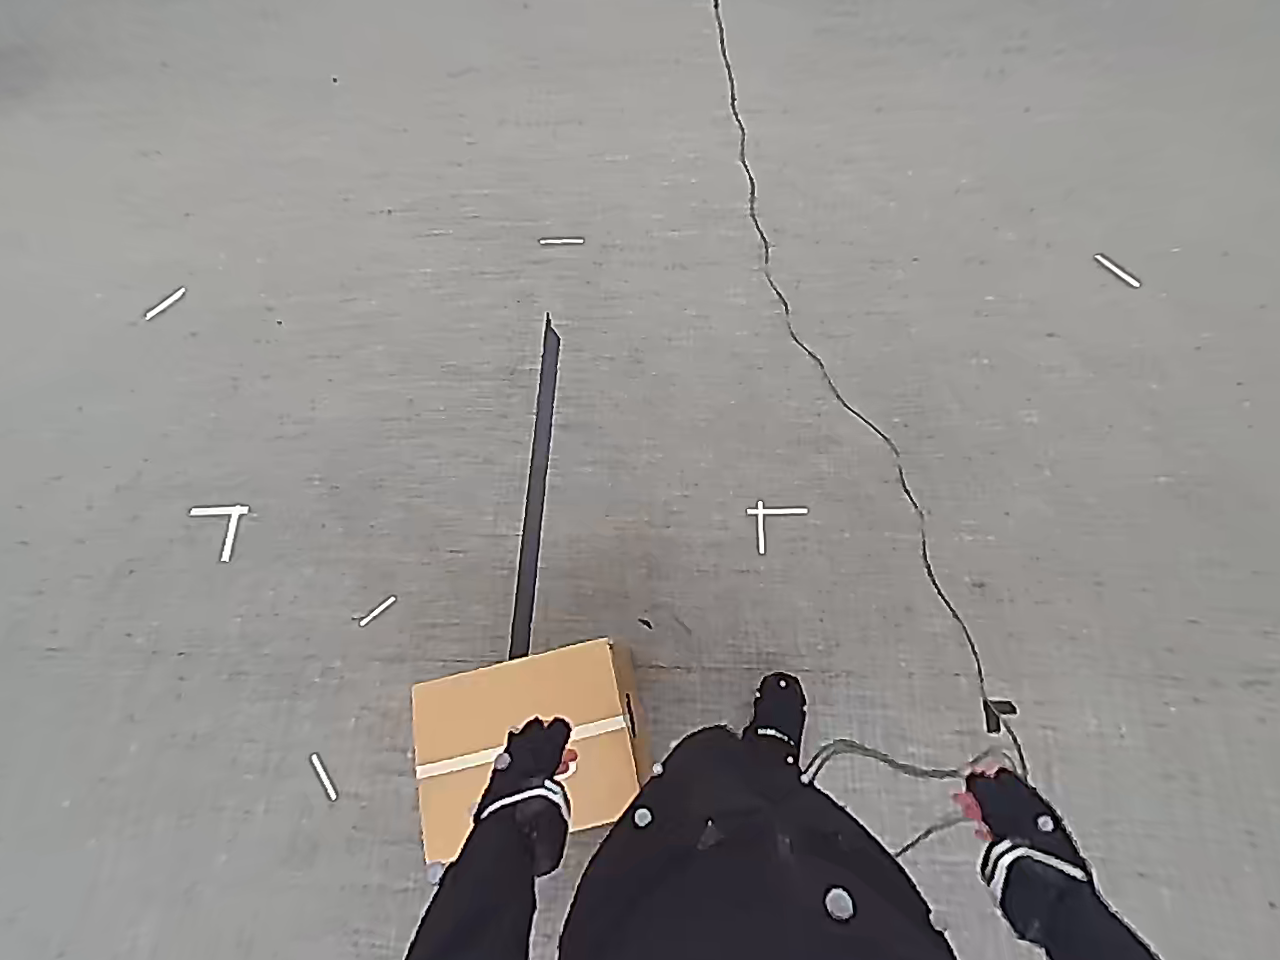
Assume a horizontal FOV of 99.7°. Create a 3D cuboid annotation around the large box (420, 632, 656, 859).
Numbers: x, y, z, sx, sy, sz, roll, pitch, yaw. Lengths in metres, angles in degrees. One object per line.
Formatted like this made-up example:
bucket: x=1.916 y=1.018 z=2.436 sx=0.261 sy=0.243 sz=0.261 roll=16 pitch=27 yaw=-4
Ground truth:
large box: x=-0.201 y=0.545 z=1.163 sx=0.408 sy=0.320 sz=0.320 roll=-15 pitch=70 yaw=-1
